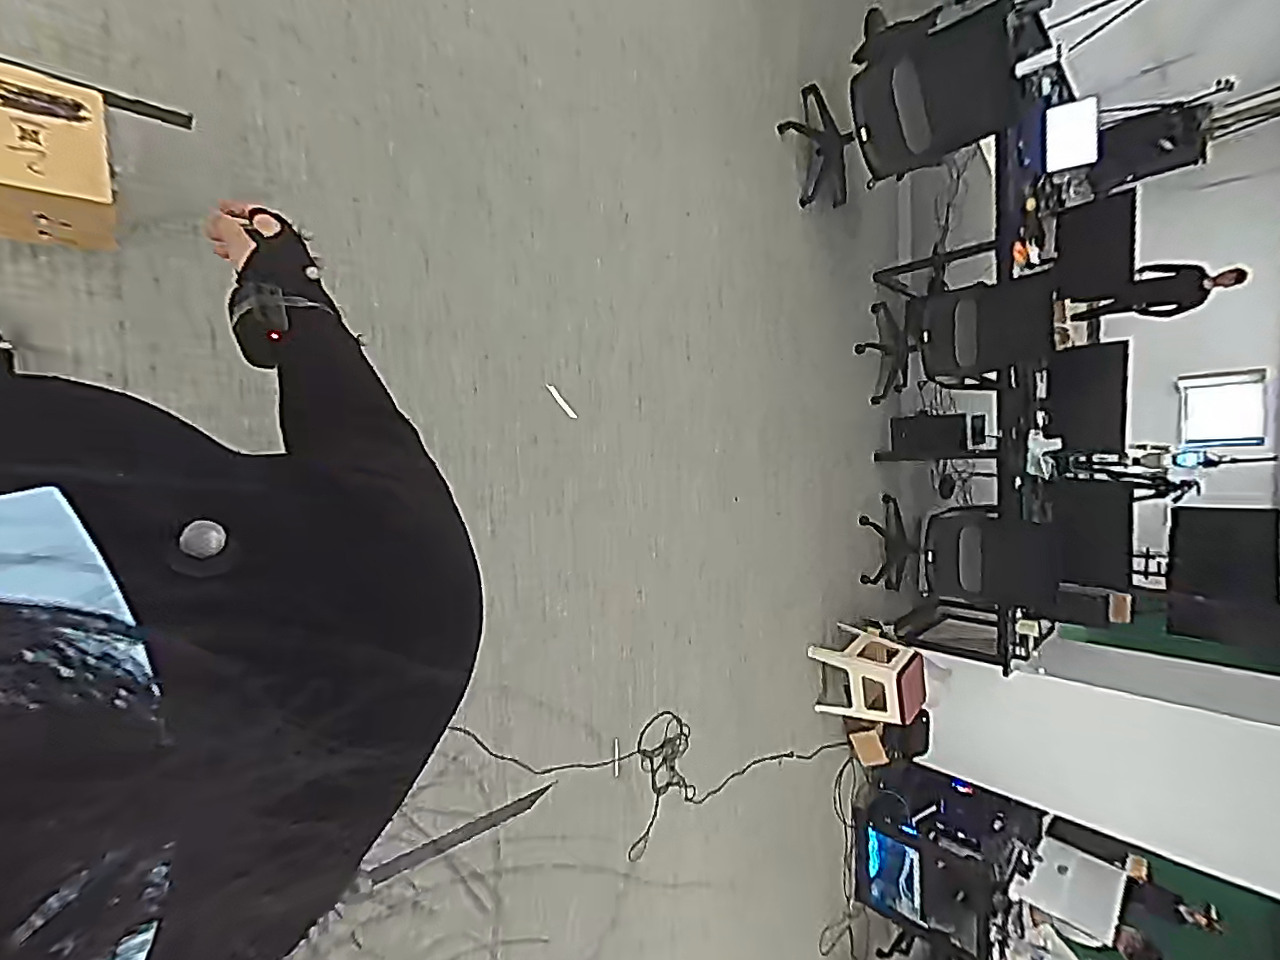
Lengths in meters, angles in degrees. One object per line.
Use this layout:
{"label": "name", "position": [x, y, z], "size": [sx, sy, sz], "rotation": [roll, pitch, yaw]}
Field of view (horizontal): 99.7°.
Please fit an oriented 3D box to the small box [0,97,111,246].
{"label": "small box", "position": [-1.074, -0.543, 0.965], "size": [0.168, 0.176, 0.179], "rotation": [-10, 98, -43]}
